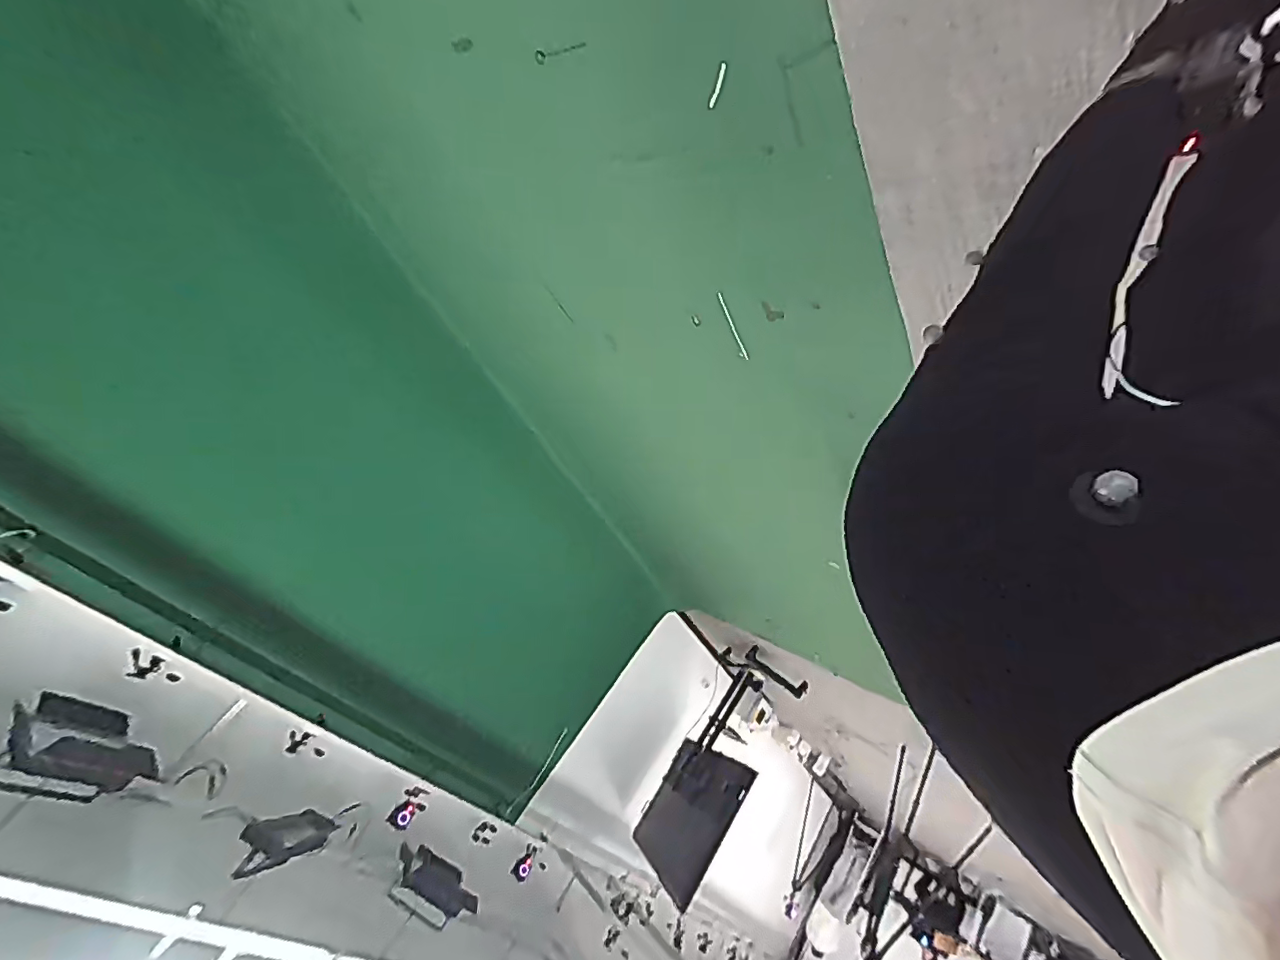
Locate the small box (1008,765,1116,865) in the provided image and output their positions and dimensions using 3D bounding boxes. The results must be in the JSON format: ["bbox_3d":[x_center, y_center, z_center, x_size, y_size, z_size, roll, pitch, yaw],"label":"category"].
[{"bbox_3d":[1.250,0.981,1.602,0.179,0.176,0.168,39,158,0],"label":"small box"}]
